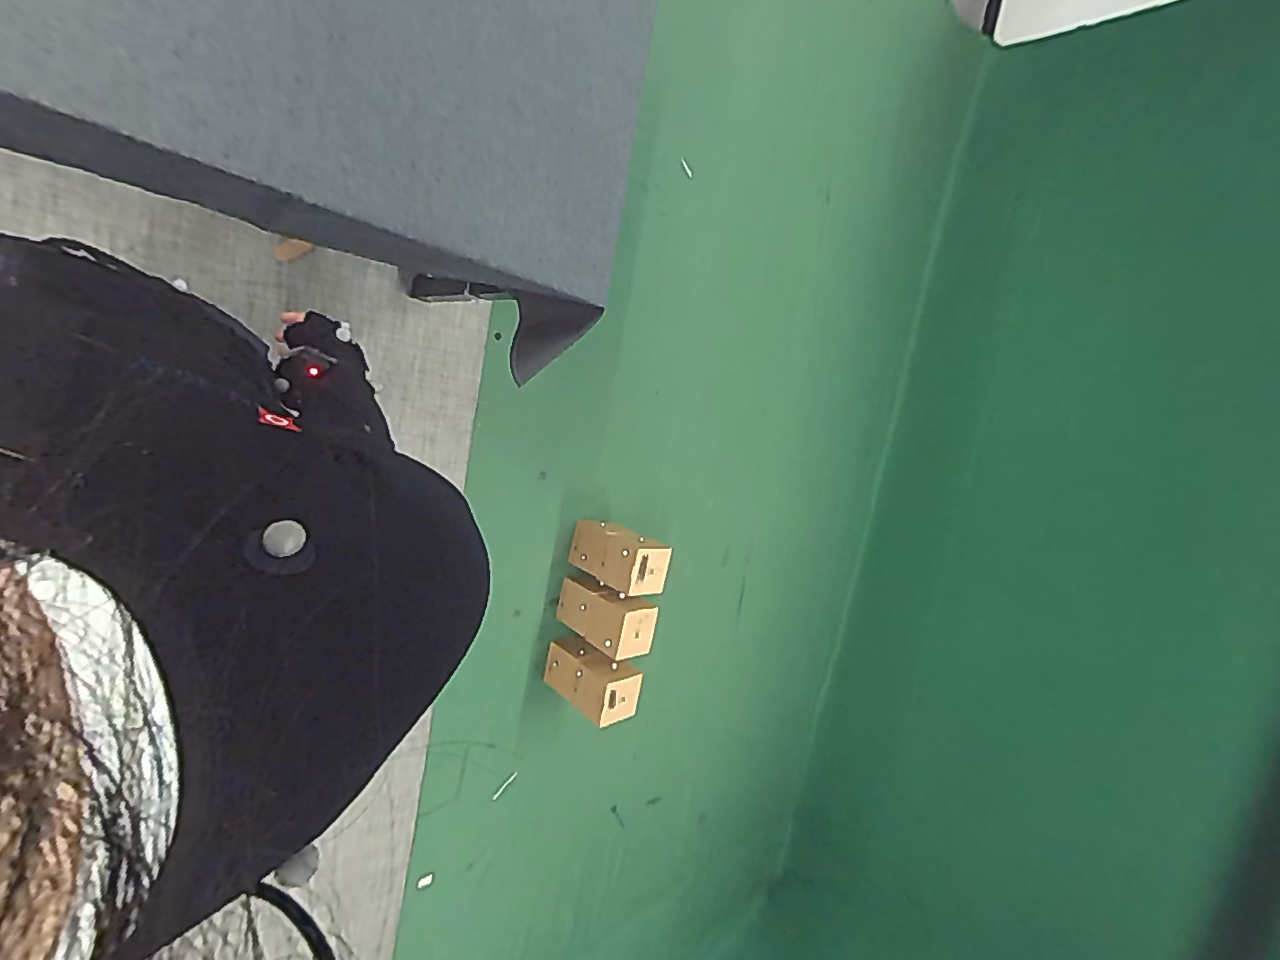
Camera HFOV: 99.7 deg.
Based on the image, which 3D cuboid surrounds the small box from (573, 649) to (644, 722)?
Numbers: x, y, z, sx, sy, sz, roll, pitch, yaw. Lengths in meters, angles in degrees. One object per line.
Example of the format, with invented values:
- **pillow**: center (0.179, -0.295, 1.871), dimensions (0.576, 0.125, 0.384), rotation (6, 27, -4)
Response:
- **small box**: center (-0.117, 0.731, 1.942), dimensions (0.179, 0.176, 0.168), rotation (3, 101, -45)

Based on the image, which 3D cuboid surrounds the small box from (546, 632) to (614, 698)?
- **small box**: center (-0.229, 0.694, 2.056), dimensions (0.179, 0.176, 0.168), rotation (4, 100, -45)

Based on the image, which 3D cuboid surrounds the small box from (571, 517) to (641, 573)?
- **small box**: center (-0.131, 0.241, 2.010), dimensions (0.179, 0.176, 0.168), rotation (10, 95, -46)
